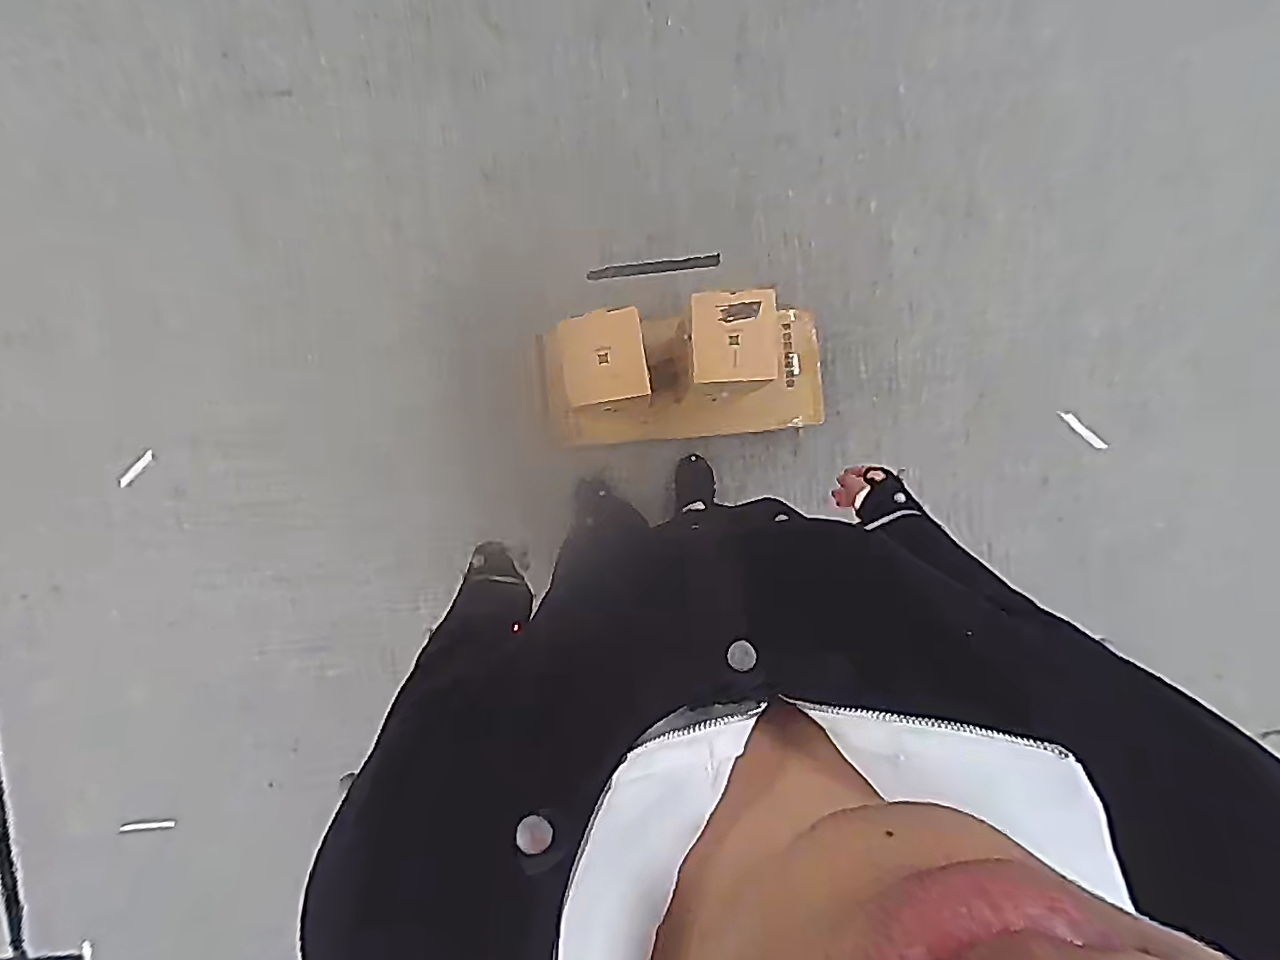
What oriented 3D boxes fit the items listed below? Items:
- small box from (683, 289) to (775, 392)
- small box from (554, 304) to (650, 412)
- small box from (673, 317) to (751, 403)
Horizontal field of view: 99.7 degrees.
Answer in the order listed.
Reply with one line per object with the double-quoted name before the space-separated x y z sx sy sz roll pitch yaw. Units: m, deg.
"small box" 0.179 -0.283 1.128 0.168 0.176 0.179 -2 93 0
"small box" -0.075 -0.246 1.130 0.168 0.176 0.179 -10 93 1
"small box" 0.170 -0.287 1.293 0.168 0.176 0.179 -6 92 1
